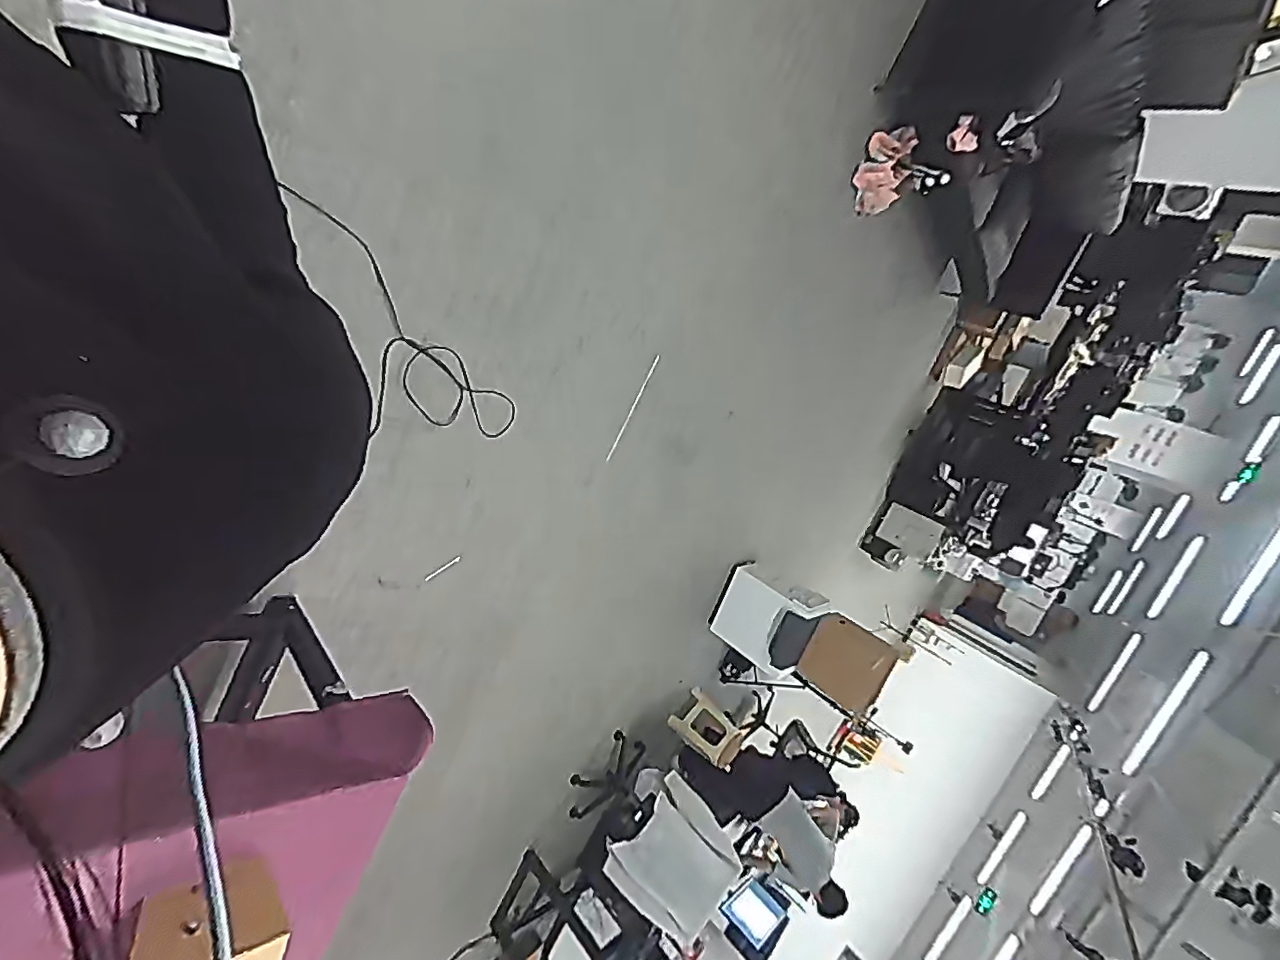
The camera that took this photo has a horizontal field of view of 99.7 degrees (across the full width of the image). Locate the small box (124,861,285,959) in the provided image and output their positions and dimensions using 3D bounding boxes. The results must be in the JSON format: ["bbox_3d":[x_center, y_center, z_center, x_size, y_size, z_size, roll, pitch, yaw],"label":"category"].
[{"bbox_3d":[-0.719,0.774,0.887,0.168,0.176,0.179,9,109,-50],"label":"small box"}]
